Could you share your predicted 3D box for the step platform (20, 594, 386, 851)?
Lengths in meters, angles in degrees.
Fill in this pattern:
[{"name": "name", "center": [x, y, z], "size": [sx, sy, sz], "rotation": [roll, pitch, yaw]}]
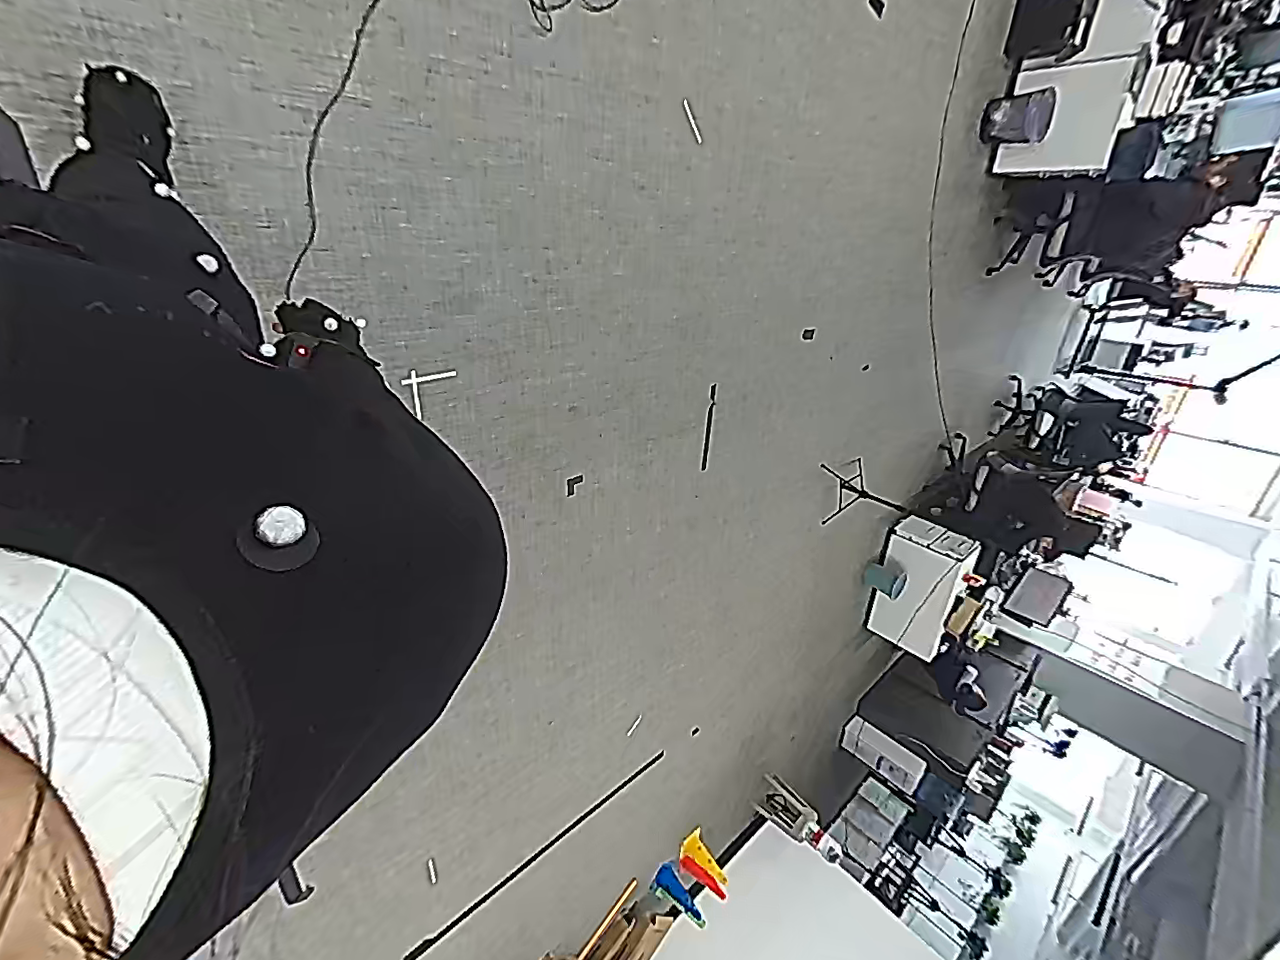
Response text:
[{"name": "step platform", "center": [-1.003, 0.558, 1.333], "size": [0.684, 0.204, 0.286], "rotation": [-20, 123, -37]}]
